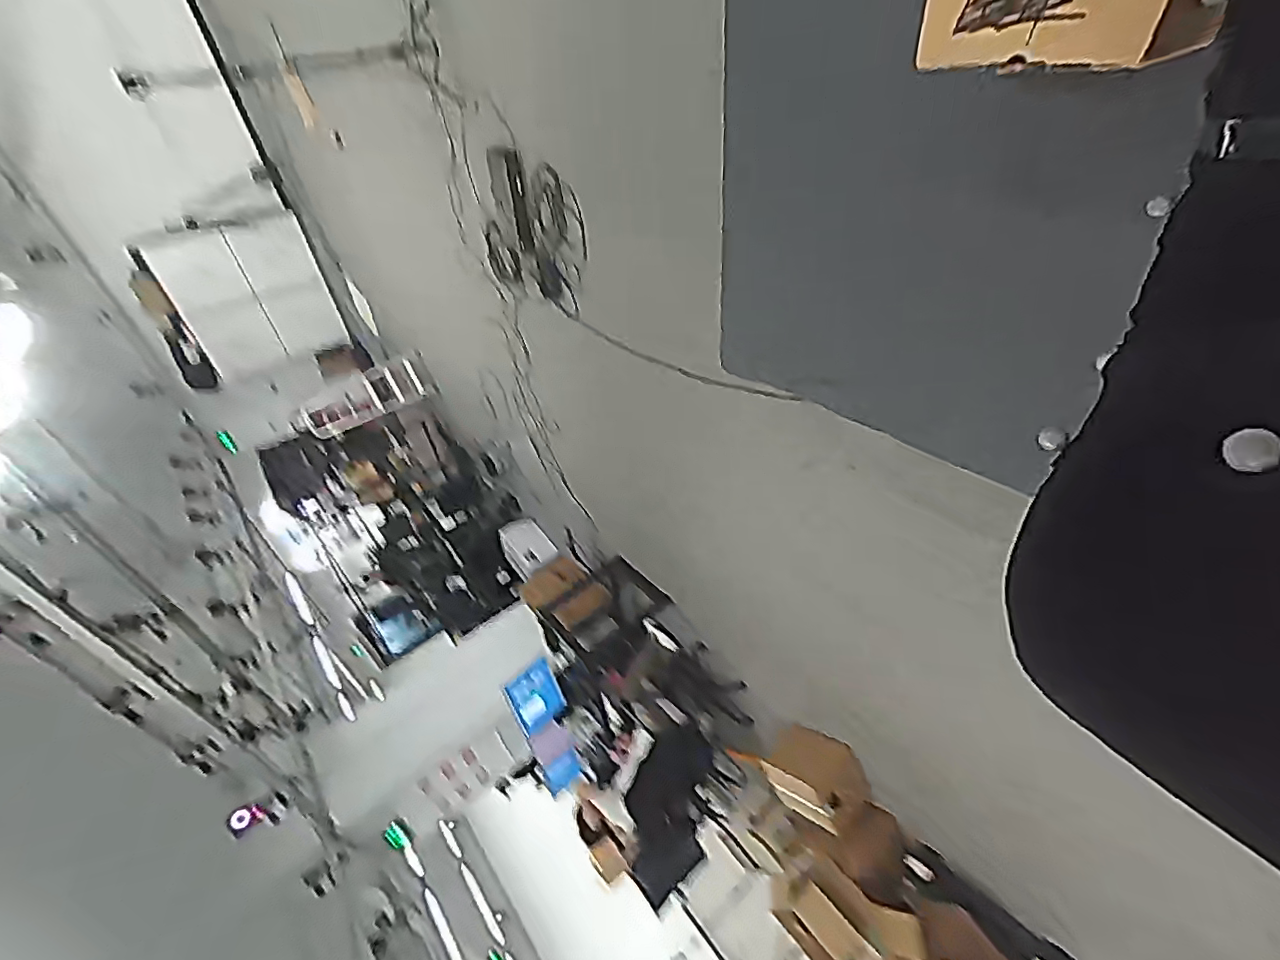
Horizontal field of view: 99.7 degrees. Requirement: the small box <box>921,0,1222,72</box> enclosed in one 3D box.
[{"bbox_3d":[0.354,-0.431,0.412,0.168,0.176,0.179,34,144,38],"label":"small box"}]
